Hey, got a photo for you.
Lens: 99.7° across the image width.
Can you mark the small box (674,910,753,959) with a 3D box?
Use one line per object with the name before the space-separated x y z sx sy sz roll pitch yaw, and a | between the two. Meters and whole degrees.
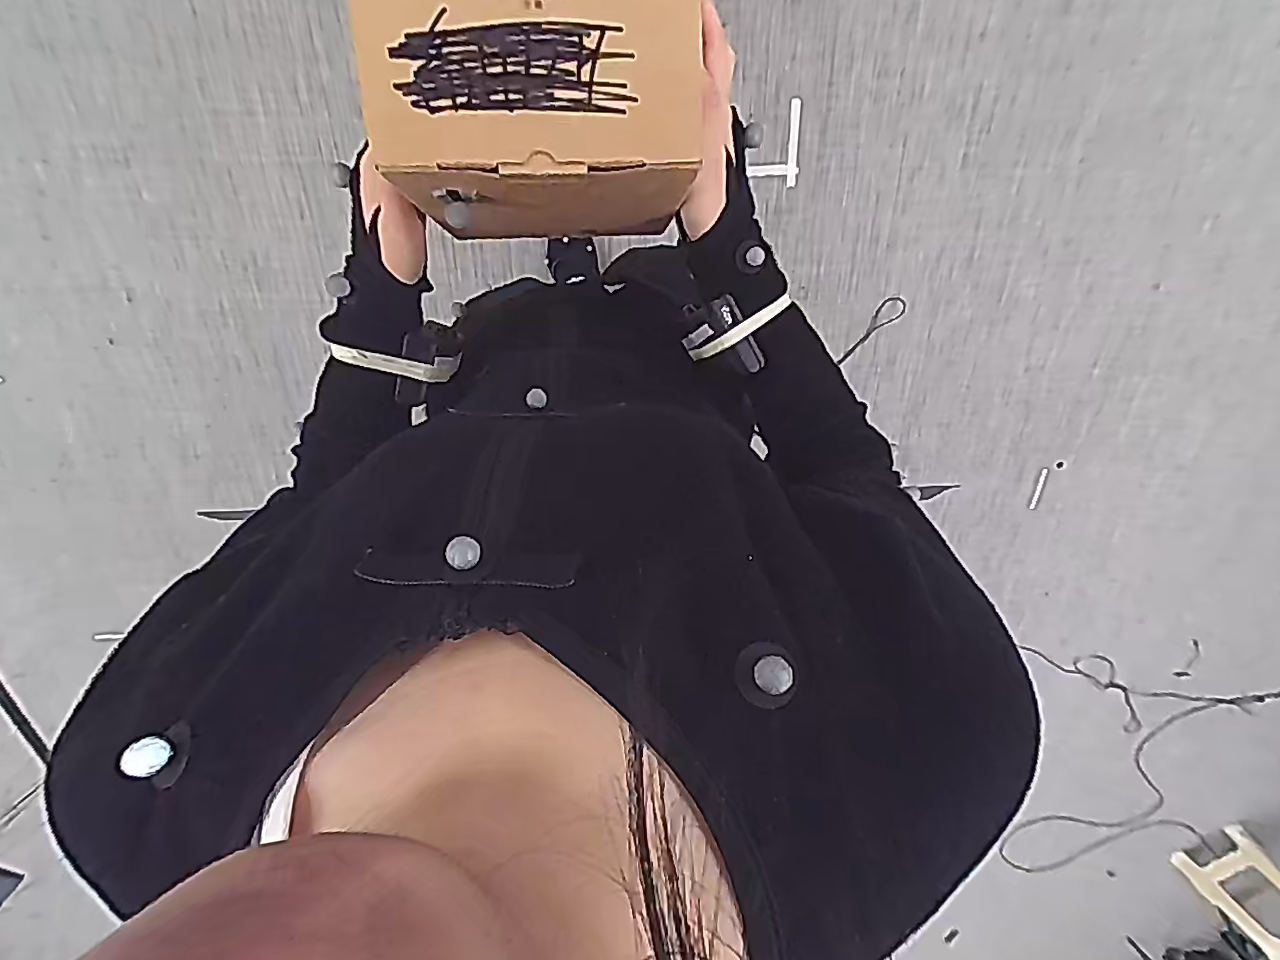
small box | 0.170 1.115 1.219 0.168 0.176 0.179 -5 116 -4
